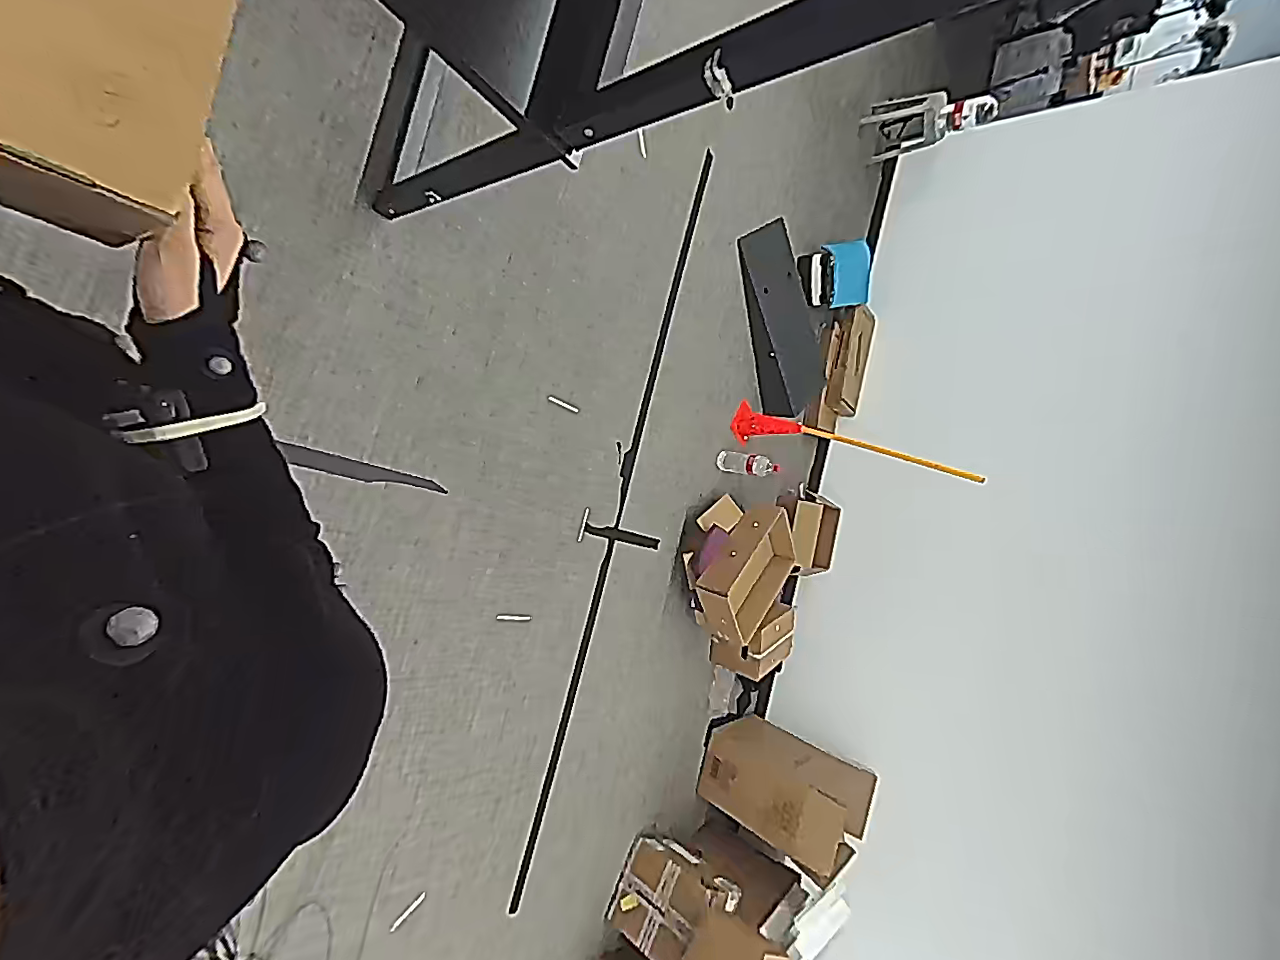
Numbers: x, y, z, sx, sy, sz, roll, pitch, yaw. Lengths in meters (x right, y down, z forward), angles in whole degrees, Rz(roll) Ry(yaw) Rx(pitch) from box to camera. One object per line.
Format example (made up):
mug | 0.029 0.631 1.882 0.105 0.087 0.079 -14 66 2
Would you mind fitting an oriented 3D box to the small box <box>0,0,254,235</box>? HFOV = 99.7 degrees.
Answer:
small box | -0.307 -0.235 0.250 0.168 0.176 0.179 14 91 -53
